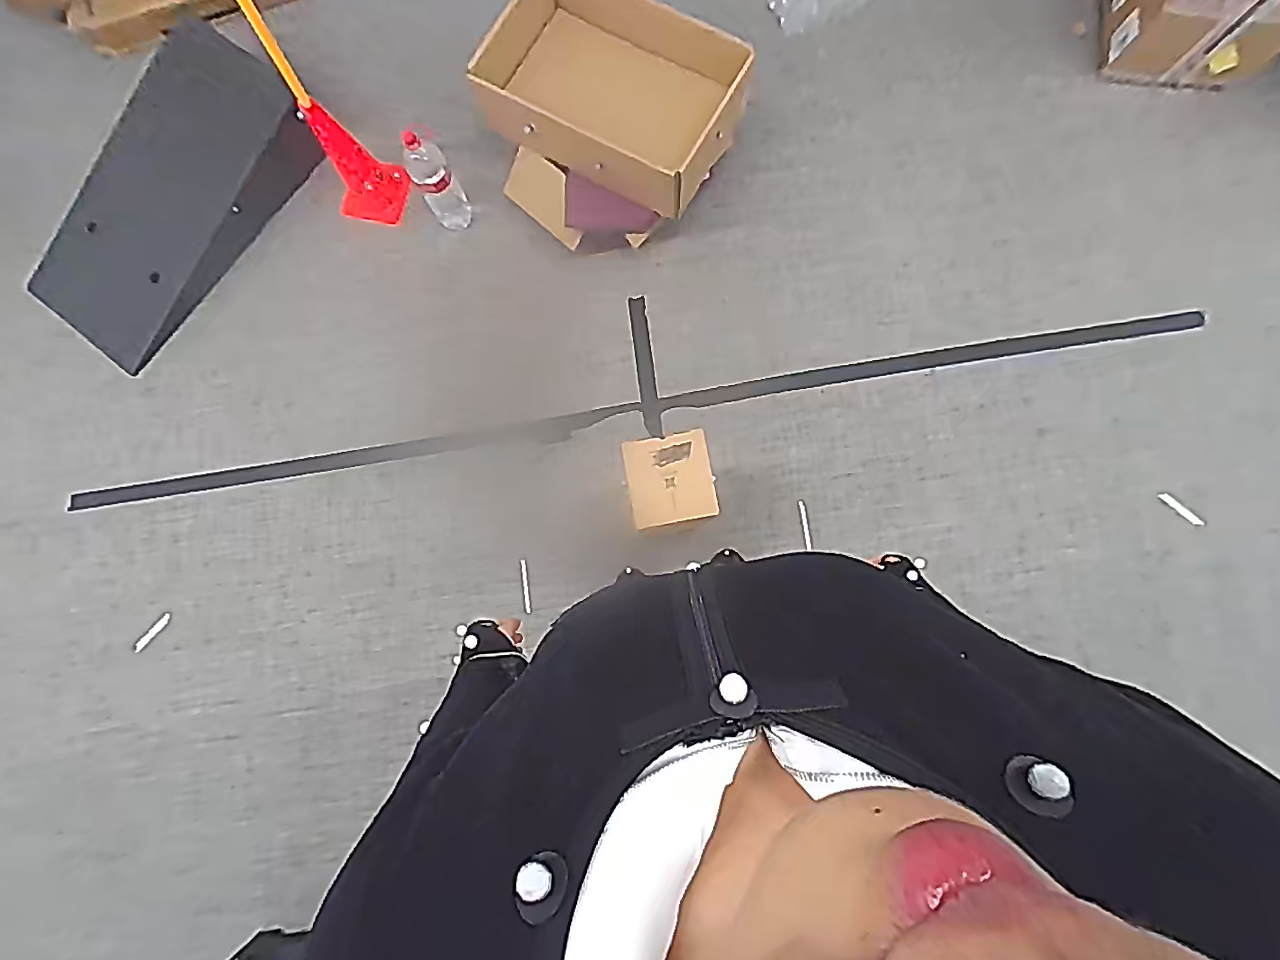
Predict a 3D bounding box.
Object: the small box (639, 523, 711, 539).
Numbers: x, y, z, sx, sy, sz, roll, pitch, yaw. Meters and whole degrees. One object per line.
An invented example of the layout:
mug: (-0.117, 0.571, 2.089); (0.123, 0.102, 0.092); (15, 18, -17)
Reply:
small box: (0.068, 0.039, 1.292); (0.168, 0.176, 0.179); (-10, 80, 1)

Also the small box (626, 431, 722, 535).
small box: (0.066, 0.013, 1.129); (0.168, 0.176, 0.179); (-10, 82, 1)
